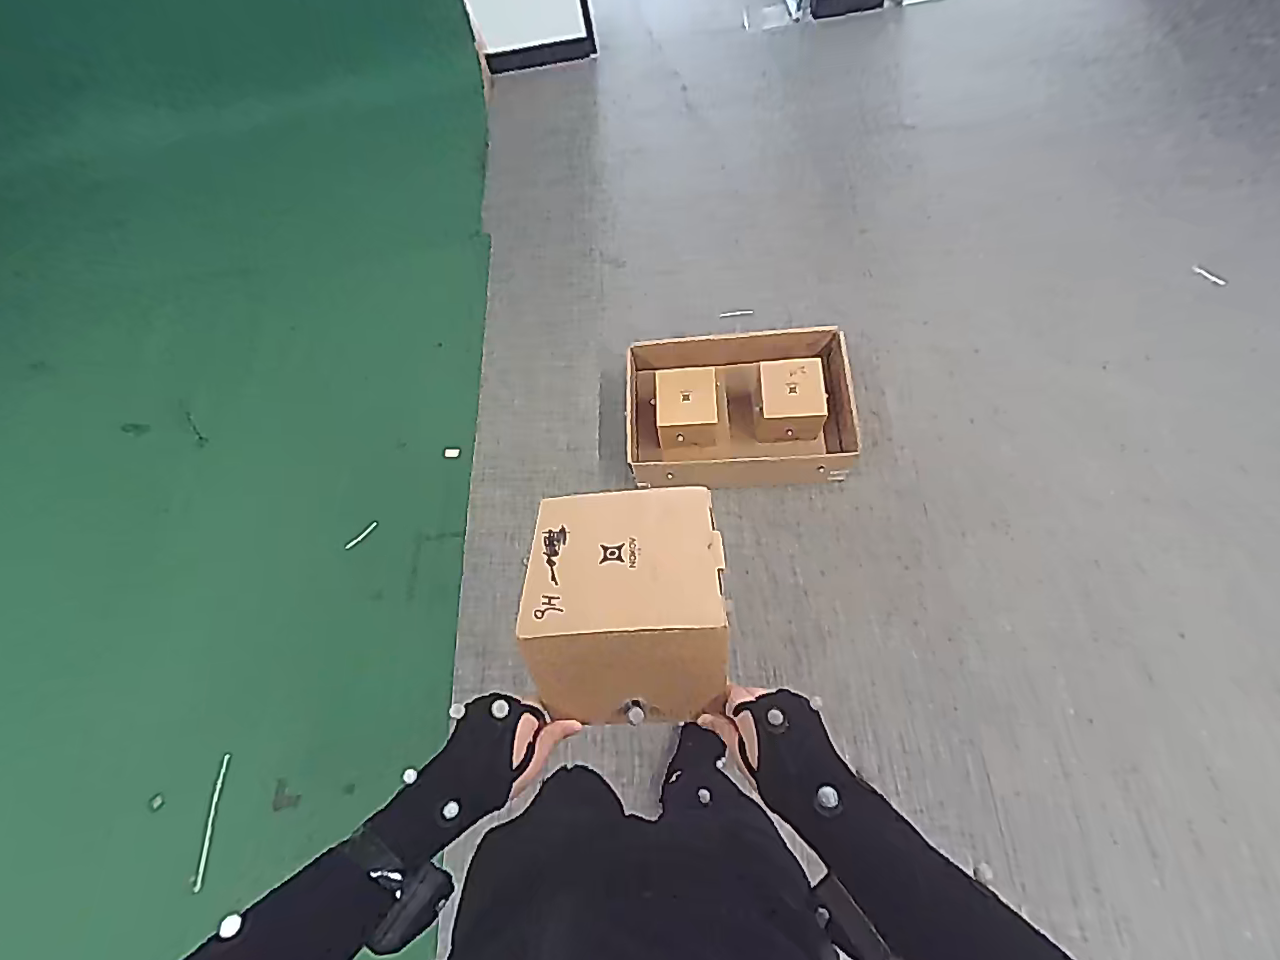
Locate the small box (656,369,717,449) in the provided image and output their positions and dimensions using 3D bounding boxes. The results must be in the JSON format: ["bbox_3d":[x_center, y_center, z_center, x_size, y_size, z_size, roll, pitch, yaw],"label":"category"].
[{"bbox_3d":[0.135,-0.196,1.550,0.168,0.176,0.179,-3,68,6],"label":"small box"}]

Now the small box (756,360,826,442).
[{"bbox_3d":[0.418,-0.213,1.518,0.168,0.176,0.179,-2,69,7],"label":"small box"}]

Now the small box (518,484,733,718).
[{"bbox_3d":[-0.006,0.123,0.544,0.179,0.176,0.168,-3,41,3],"label":"small box"}]
